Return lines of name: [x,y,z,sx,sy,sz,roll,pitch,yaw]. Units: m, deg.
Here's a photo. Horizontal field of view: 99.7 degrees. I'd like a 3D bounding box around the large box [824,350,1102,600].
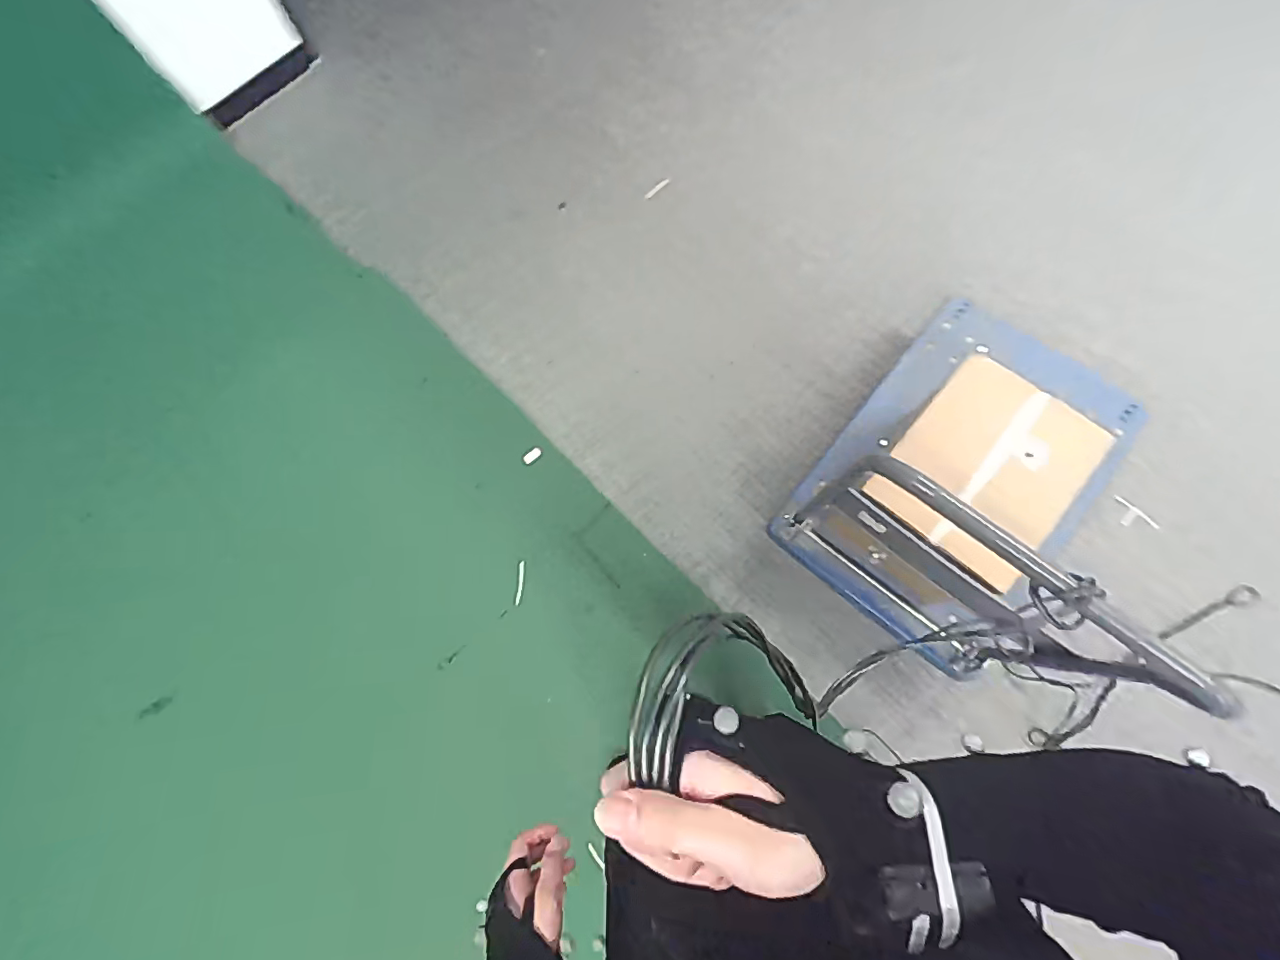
large box: [0.683,0.007,1.207,0.320,0.320,0.408,39,79,13]
